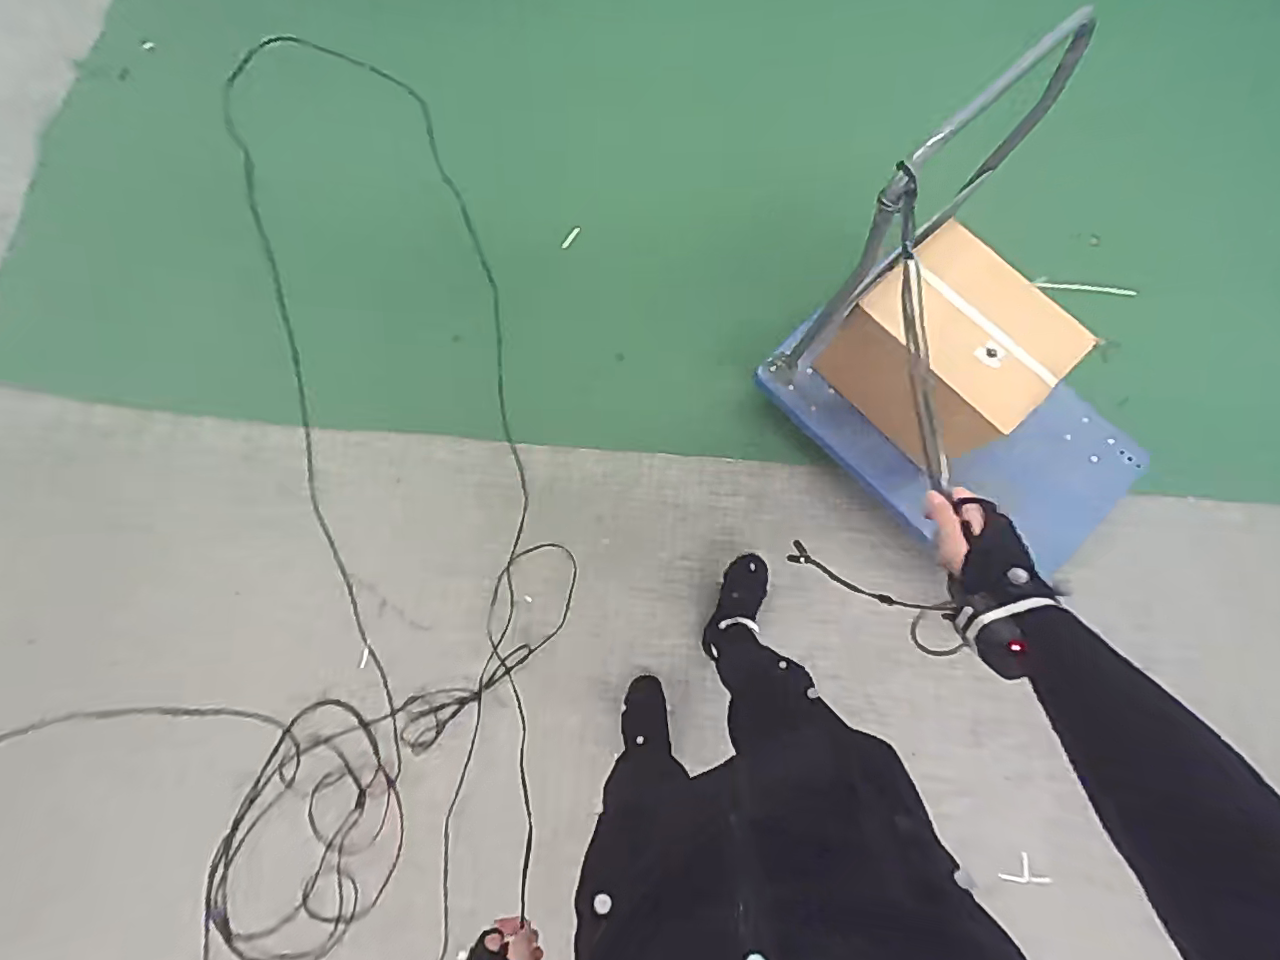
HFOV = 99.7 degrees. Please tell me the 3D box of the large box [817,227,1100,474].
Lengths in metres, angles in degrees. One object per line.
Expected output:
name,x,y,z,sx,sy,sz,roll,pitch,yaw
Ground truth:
large box,0.703,-0.283,1.265,0.320,0.320,0.408,-42,81,-9
